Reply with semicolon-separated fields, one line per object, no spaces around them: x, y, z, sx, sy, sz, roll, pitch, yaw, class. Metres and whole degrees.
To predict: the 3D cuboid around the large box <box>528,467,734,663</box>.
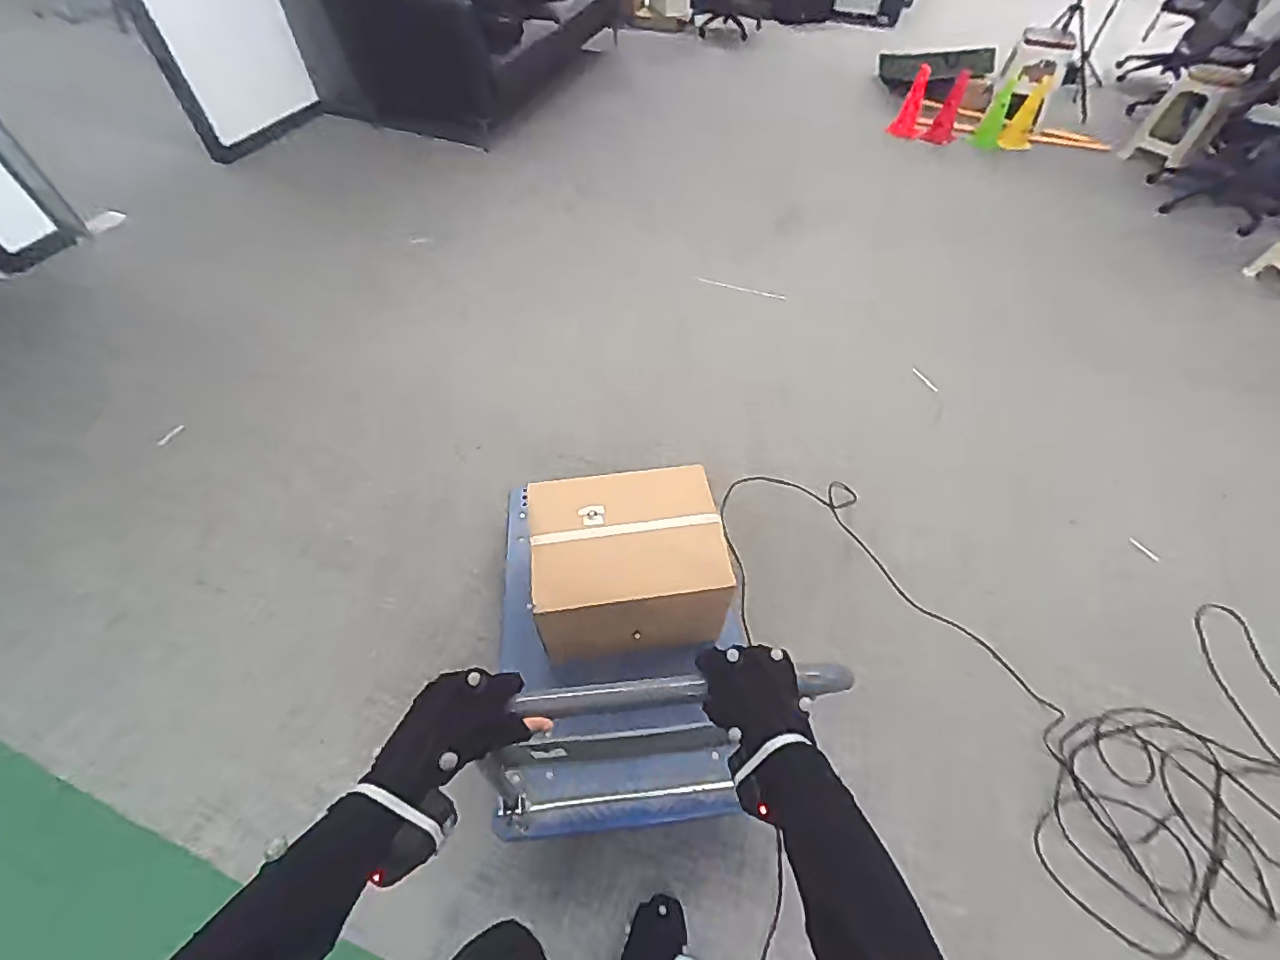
-0.030;0.203;1.262;0.408;0.320;0.320;-7;54;-6;large box
